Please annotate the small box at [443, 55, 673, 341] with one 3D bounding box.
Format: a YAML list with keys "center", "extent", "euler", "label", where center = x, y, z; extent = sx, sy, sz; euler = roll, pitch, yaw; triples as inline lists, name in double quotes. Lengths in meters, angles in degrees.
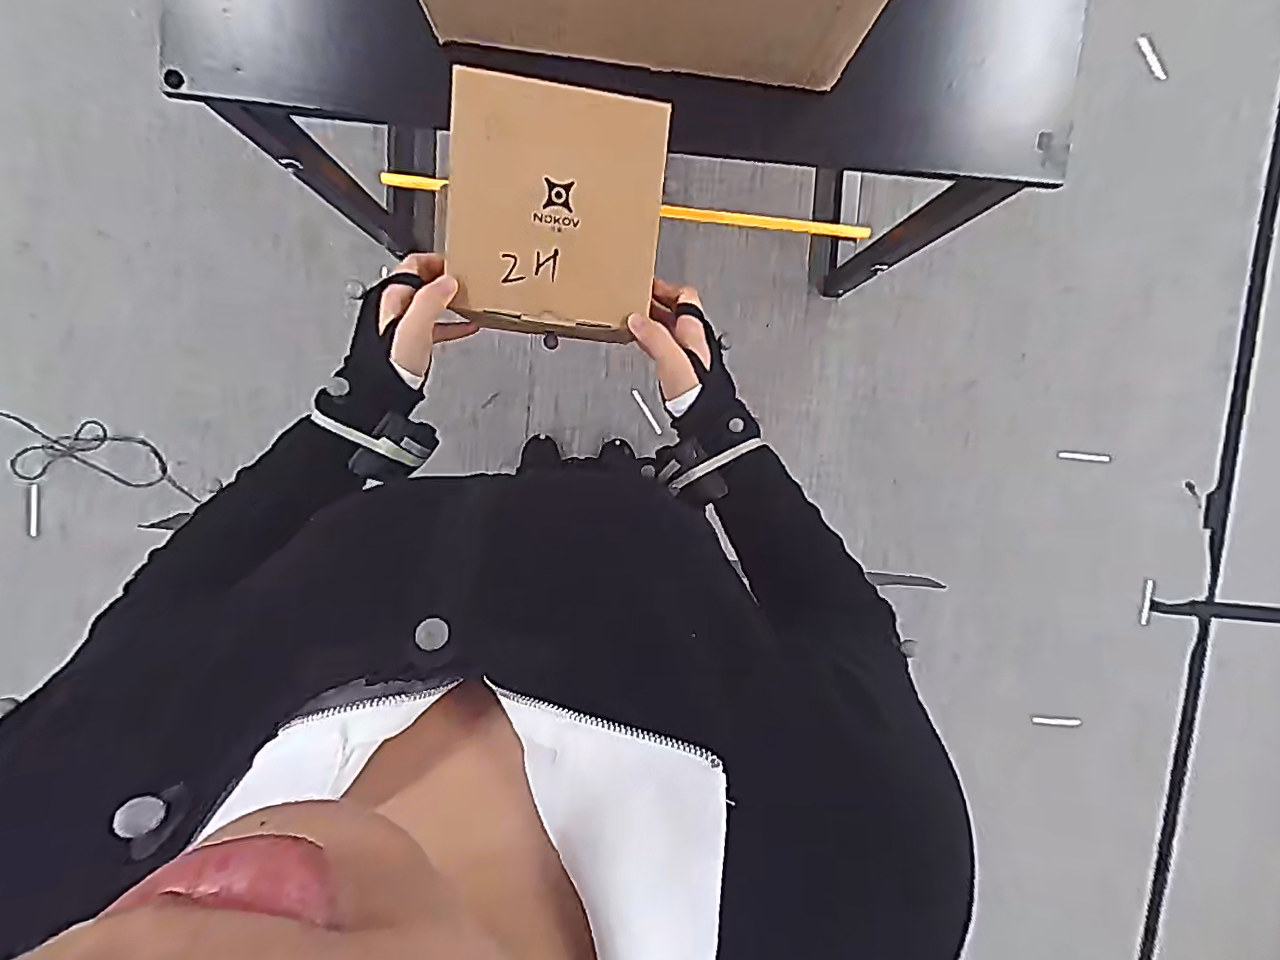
- center: [-0.073, -0.231, 0.494]
  extent: [0.168, 0.176, 0.179]
  euler: [5, 100, -7]
  label: "small box"
